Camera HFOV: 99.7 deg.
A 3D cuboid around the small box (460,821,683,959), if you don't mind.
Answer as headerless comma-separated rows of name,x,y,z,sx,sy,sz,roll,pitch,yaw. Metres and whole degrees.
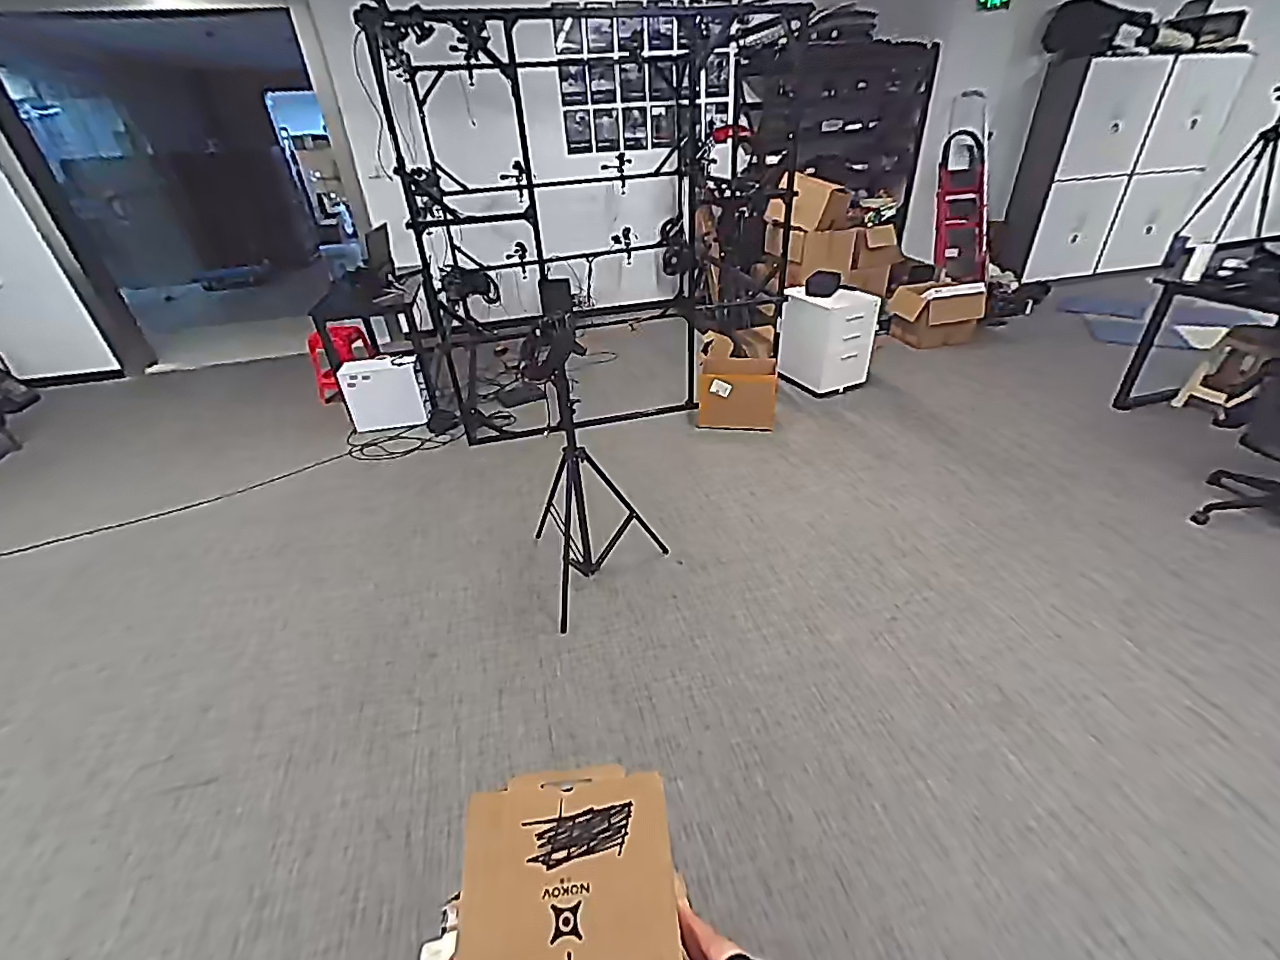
small box,-0.049,0.412,0.445,0.168,0.176,0.179,-5,44,-4
